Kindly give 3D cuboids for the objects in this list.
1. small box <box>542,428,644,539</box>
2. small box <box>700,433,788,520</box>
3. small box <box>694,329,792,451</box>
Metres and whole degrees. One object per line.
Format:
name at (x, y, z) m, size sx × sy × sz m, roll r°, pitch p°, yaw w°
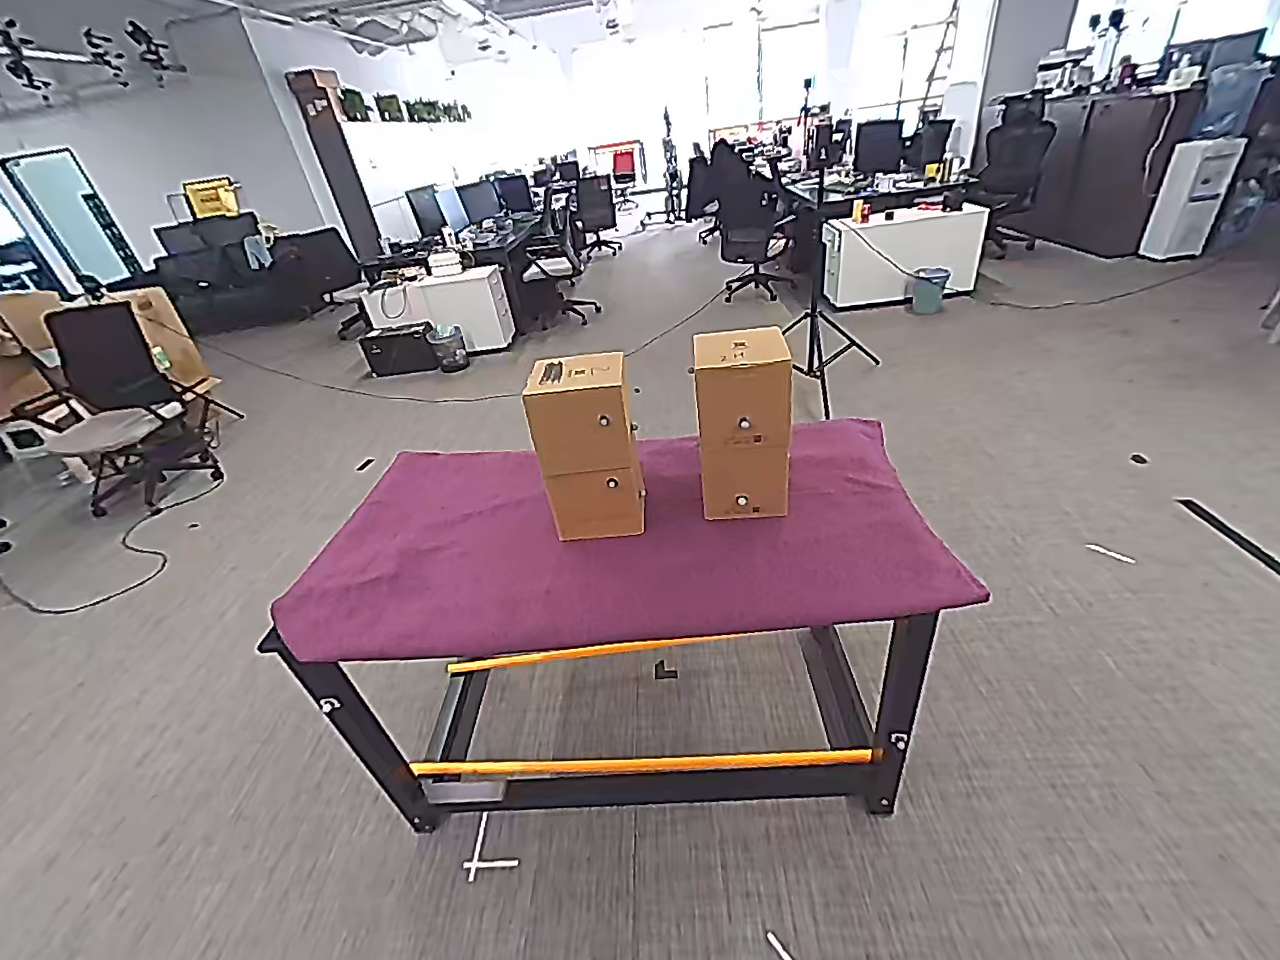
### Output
small box at (-0.089, 0.010, 1.126) m, size 0.179 × 0.176 × 0.168 m, roll -5°, pitch 33°, yaw 5°
small box at (0.210, -0.035, 1.120) m, size 0.168 × 0.176 × 0.179 m, roll -4°, pitch 34°, yaw 8°
small box at (0.192, -0.172, 1.029) m, size 0.168 × 0.176 × 0.179 m, roll -4°, pitch 34°, yaw 8°
